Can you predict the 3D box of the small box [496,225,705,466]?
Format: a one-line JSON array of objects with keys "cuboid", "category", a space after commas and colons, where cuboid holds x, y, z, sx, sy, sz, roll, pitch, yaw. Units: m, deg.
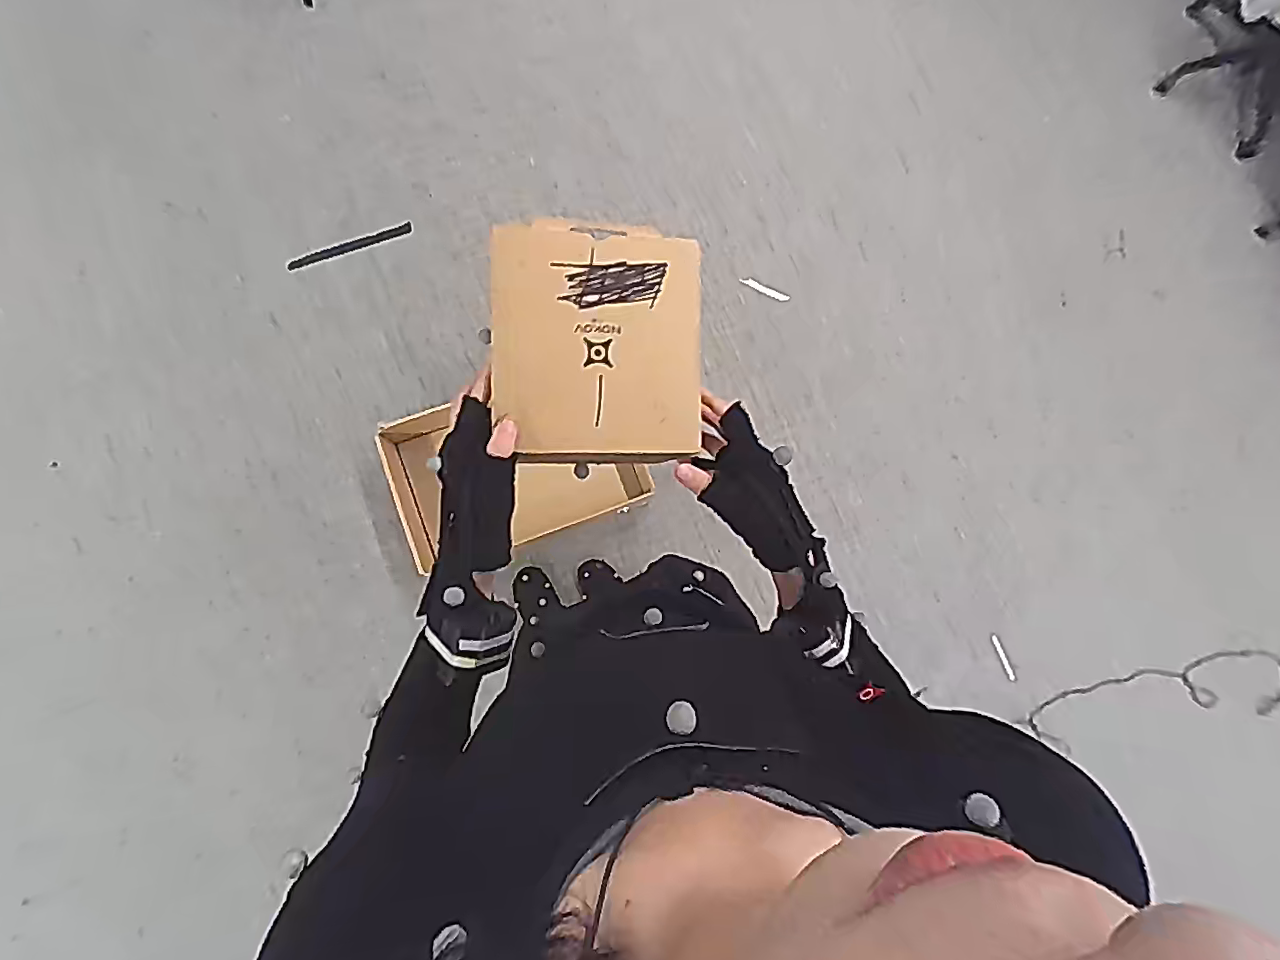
[{"cuboid": [-0.044, -0.106, 0.501, 0.168, 0.176, 0.179, -1, 89, -10], "category": "small box"}]
